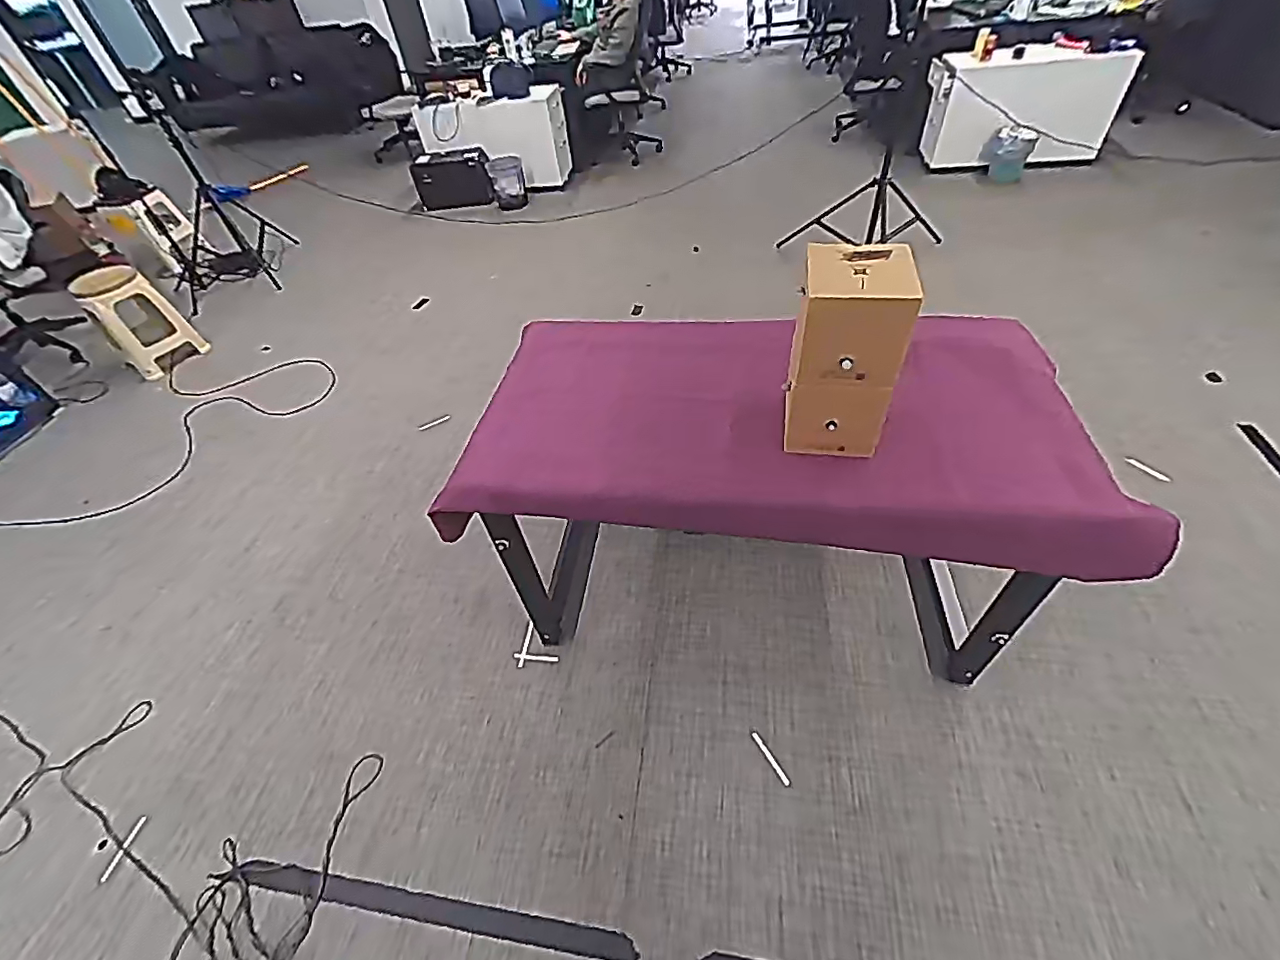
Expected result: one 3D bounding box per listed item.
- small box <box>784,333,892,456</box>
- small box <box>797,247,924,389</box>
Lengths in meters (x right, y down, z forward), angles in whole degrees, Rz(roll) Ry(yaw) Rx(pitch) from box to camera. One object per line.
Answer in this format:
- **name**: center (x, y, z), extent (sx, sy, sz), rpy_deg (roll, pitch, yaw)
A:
- **small box**: center (0.372, -0.163, 1.040), extent (0.168, 0.176, 0.179), rpy_deg (5, 48, 11)
- **small box**: center (0.361, -0.277, 0.922), extent (0.168, 0.176, 0.179), rpy_deg (5, 49, 11)
